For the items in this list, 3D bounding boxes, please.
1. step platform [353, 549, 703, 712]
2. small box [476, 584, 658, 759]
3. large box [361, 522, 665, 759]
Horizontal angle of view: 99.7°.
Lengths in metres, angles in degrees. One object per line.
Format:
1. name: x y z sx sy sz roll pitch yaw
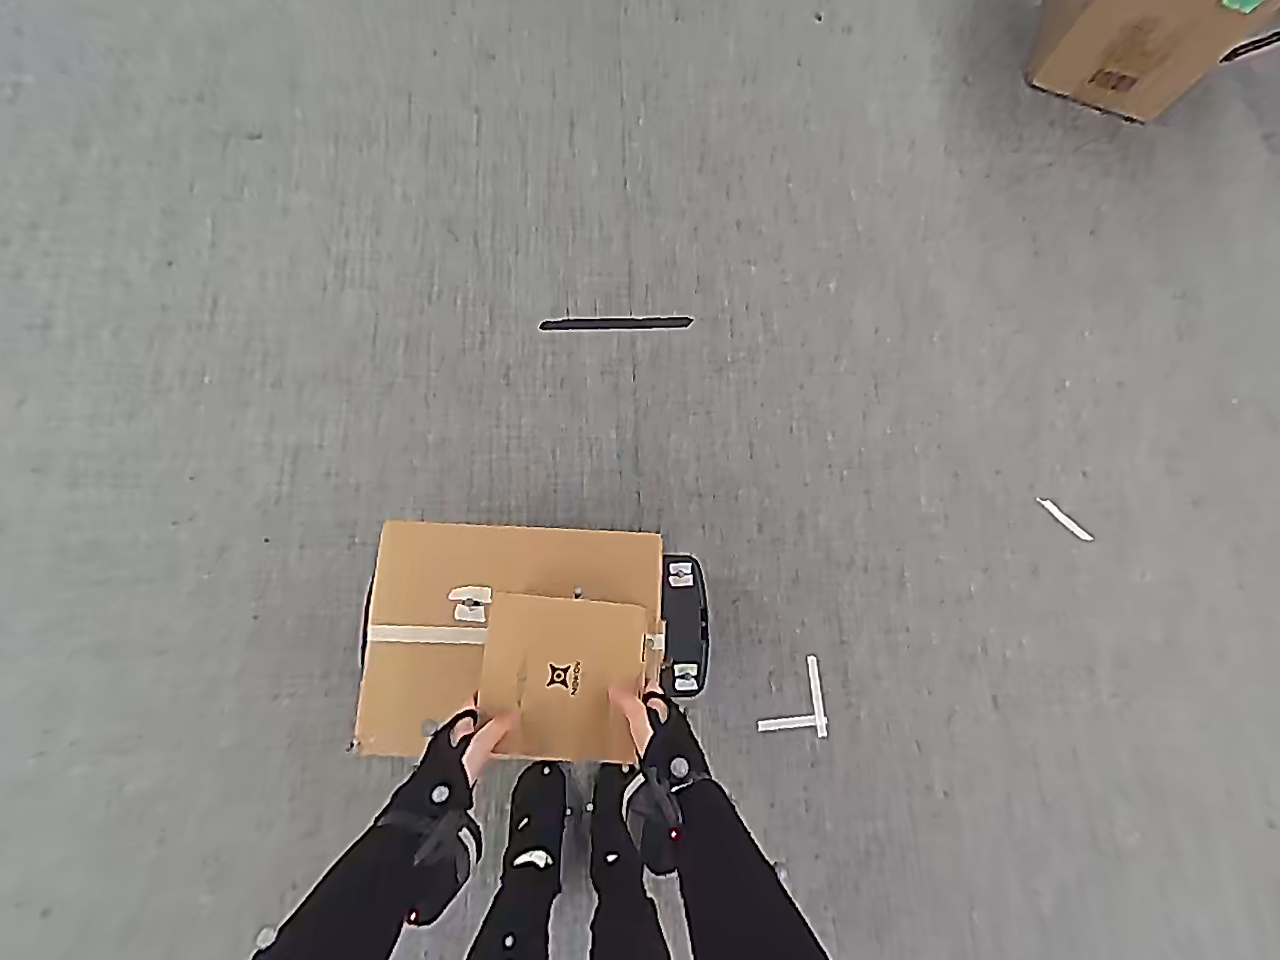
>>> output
1. step platform: -0.211 0.303 1.122 0.684 0.204 0.286 5 77 -2
2. small box: -0.079 0.218 0.652 0.179 0.176 0.168 6 77 -2
3. large box: -0.170 0.247 0.892 0.408 0.320 0.320 3 76 -2
